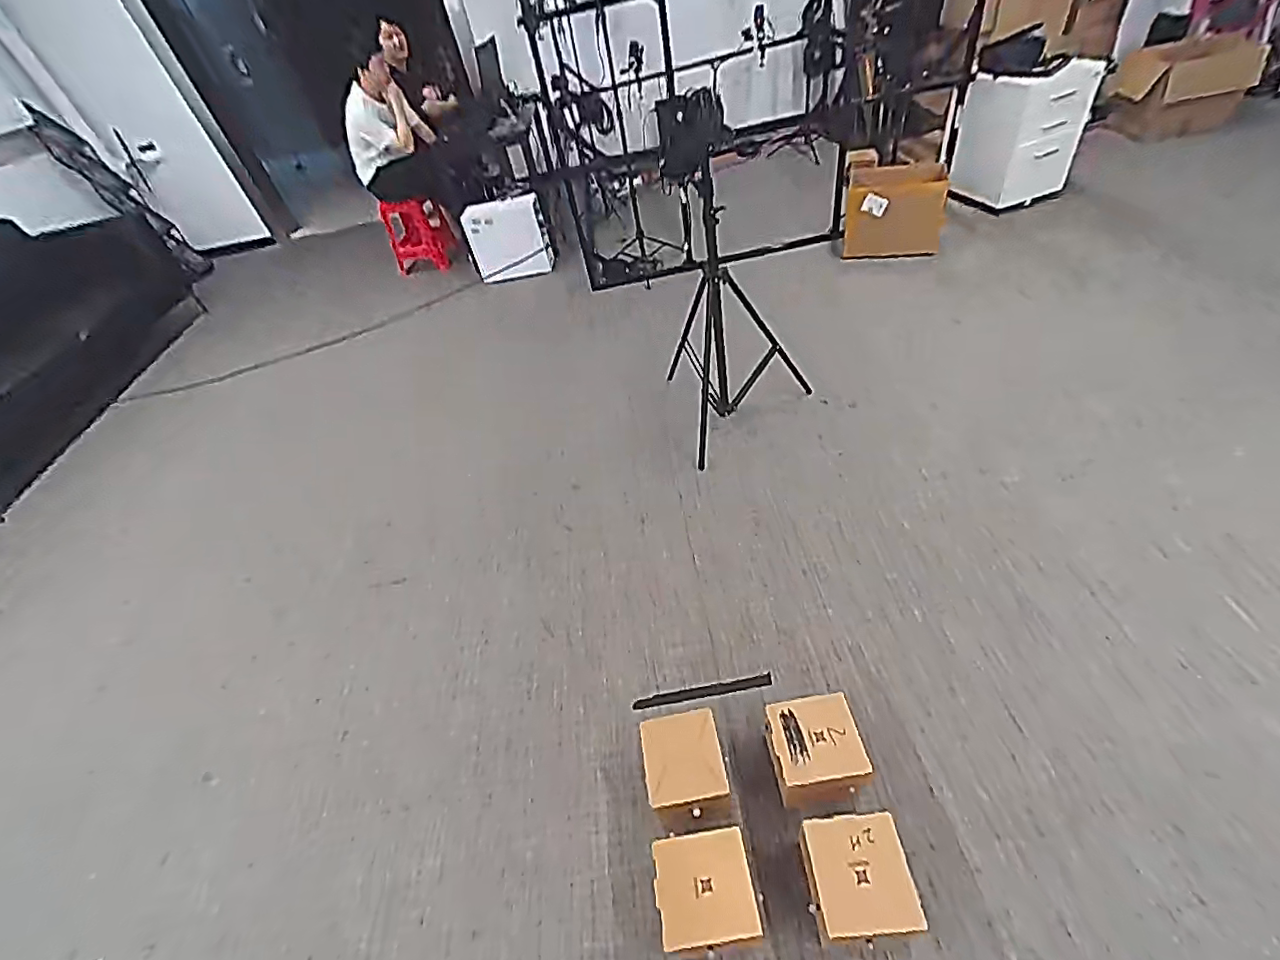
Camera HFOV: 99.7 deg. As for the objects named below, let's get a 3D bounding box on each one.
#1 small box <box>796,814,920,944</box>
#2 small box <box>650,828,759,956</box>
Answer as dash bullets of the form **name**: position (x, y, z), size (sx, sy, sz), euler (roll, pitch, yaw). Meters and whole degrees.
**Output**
- **small box**: position (0.398, 0.755, 1.019), size (0.168, 0.176, 0.179), euler (-8, 45, 4)
- **small box**: position (0.125, 0.798, 1.045), size (0.179, 0.176, 0.168), euler (-12, 44, 3)
